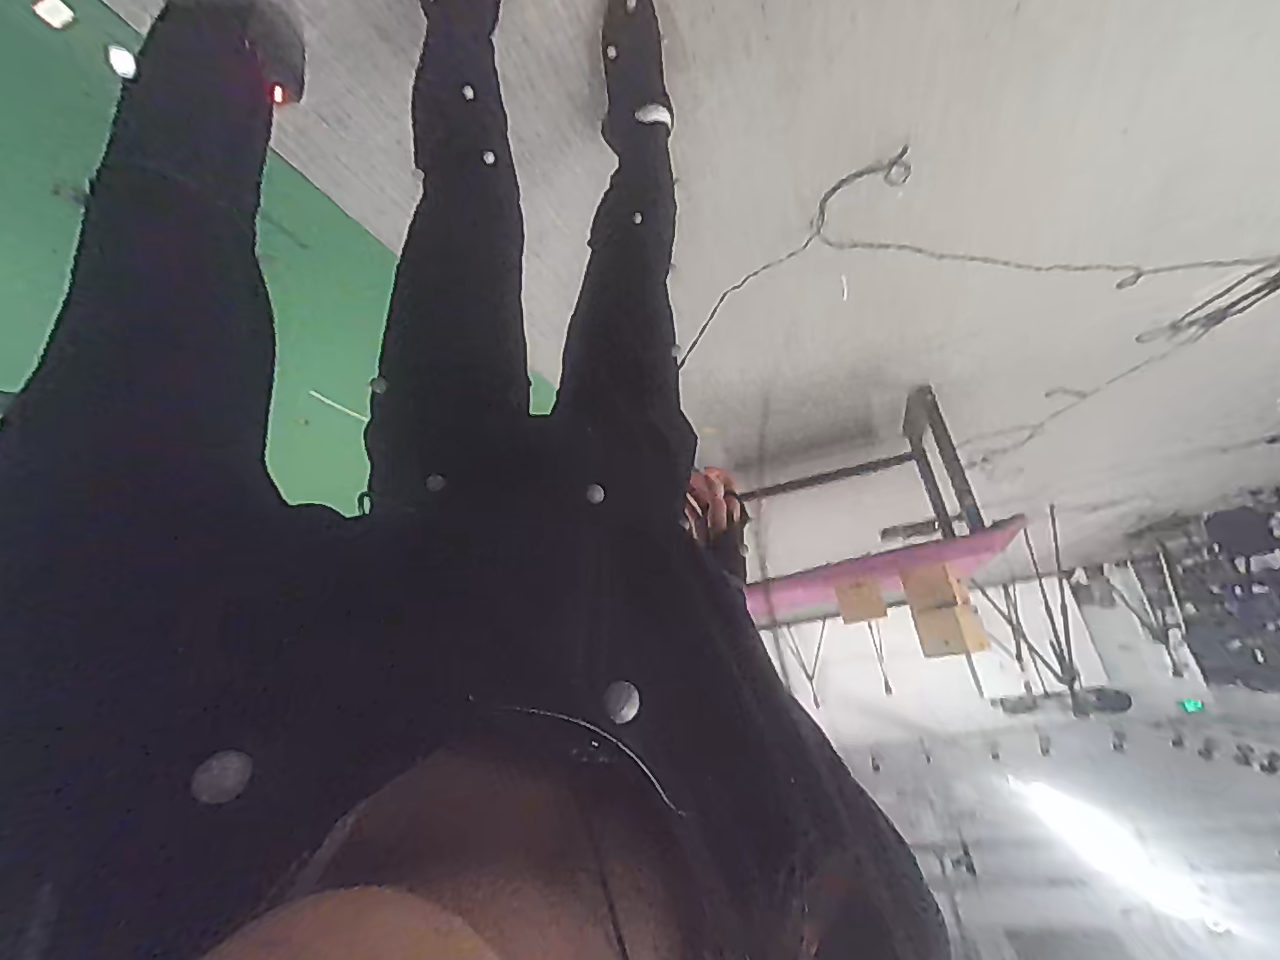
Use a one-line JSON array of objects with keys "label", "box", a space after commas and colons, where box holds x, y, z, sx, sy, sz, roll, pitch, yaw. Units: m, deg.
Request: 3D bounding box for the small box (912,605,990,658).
[{"label": "small box", "box": [1.159, 0.564, 2.025, 0.168, 0.176, 0.179, 6, 155, -33]}]

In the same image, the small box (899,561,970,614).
[{"label": "small box", "box": [1.140, 0.417, 2.100, 0.168, 0.176, 0.179, 14, 149, -43]}]

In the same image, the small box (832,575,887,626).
[{"label": "small box", "box": [0.879, 0.486, 2.178, 0.168, 0.176, 0.179, -16, 158, 15]}]
